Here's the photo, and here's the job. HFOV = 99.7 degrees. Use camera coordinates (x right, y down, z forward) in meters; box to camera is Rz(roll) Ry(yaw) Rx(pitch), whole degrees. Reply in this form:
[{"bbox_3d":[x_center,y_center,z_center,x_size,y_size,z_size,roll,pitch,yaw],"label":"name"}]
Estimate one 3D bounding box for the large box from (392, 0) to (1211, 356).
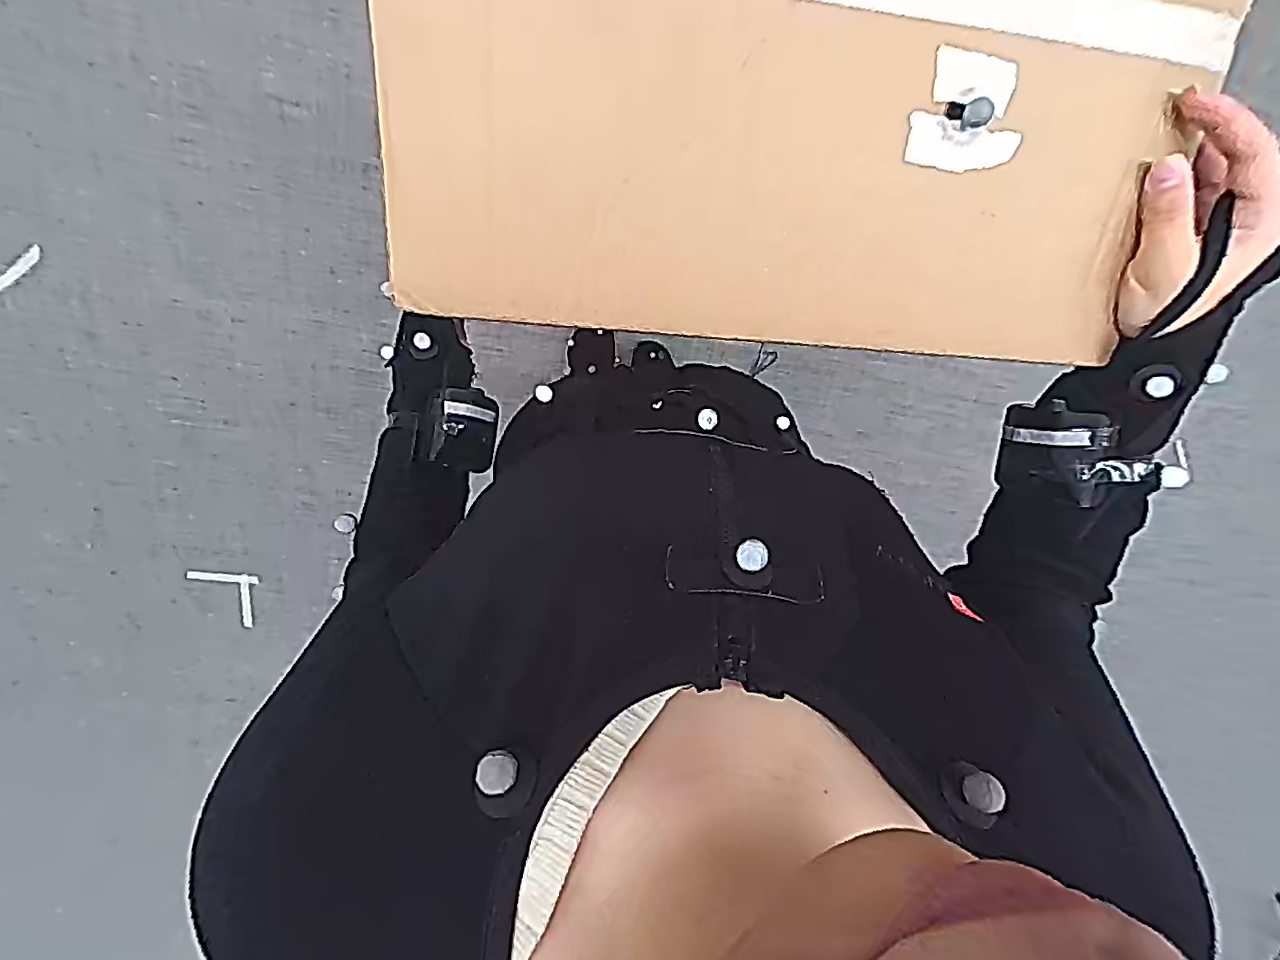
[{"bbox_3d":[0.066,-0.273,0.390,0.408,0.320,0.320,1,111,-10],"label":"large box"}]
